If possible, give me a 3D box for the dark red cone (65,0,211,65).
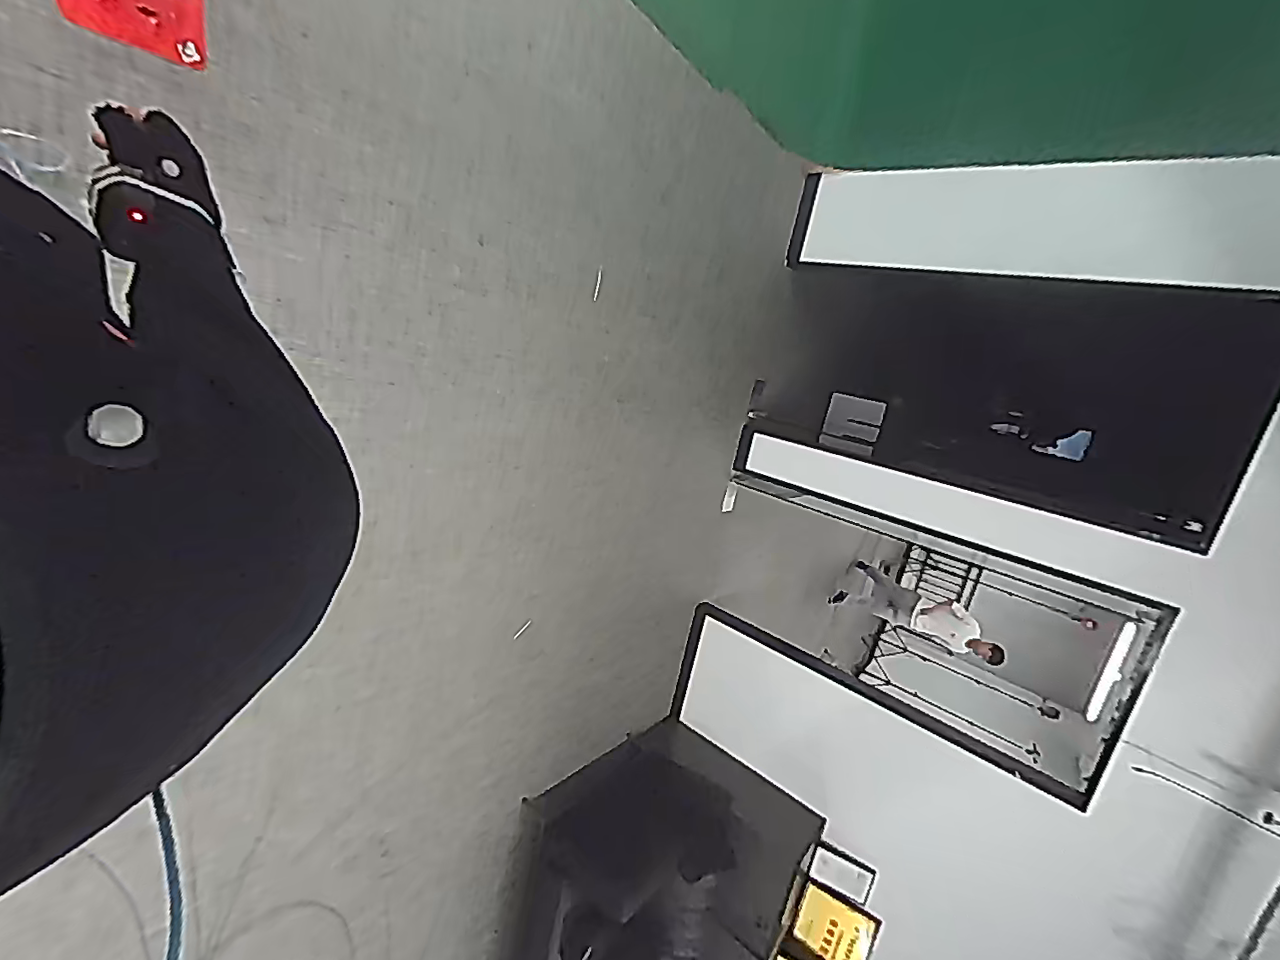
[{"bbox_3d":[-0.744,-0.820,0.837,0.202,0.394,0.201,-11,115,-50],"label":"dark red cone"}]
